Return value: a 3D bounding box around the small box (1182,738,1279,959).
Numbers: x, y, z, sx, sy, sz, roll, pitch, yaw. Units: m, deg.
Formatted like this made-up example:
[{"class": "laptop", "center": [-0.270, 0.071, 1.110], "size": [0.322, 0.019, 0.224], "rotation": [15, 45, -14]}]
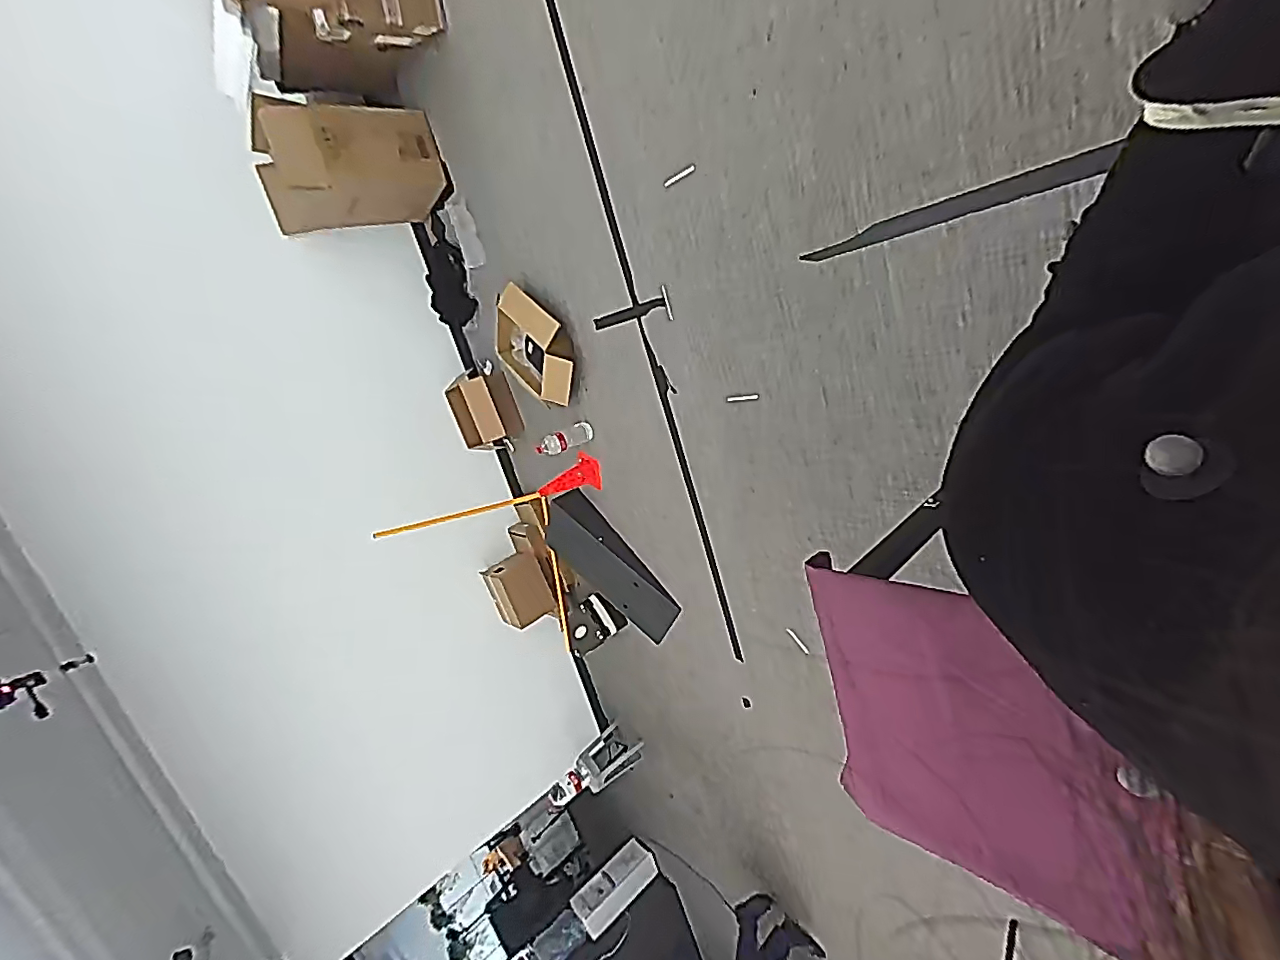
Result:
[{"class": "small box", "center": [0.725, 0.431, 0.590], "size": [0.168, 0.176, 0.179], "rotation": [6, 117, 50]}]
